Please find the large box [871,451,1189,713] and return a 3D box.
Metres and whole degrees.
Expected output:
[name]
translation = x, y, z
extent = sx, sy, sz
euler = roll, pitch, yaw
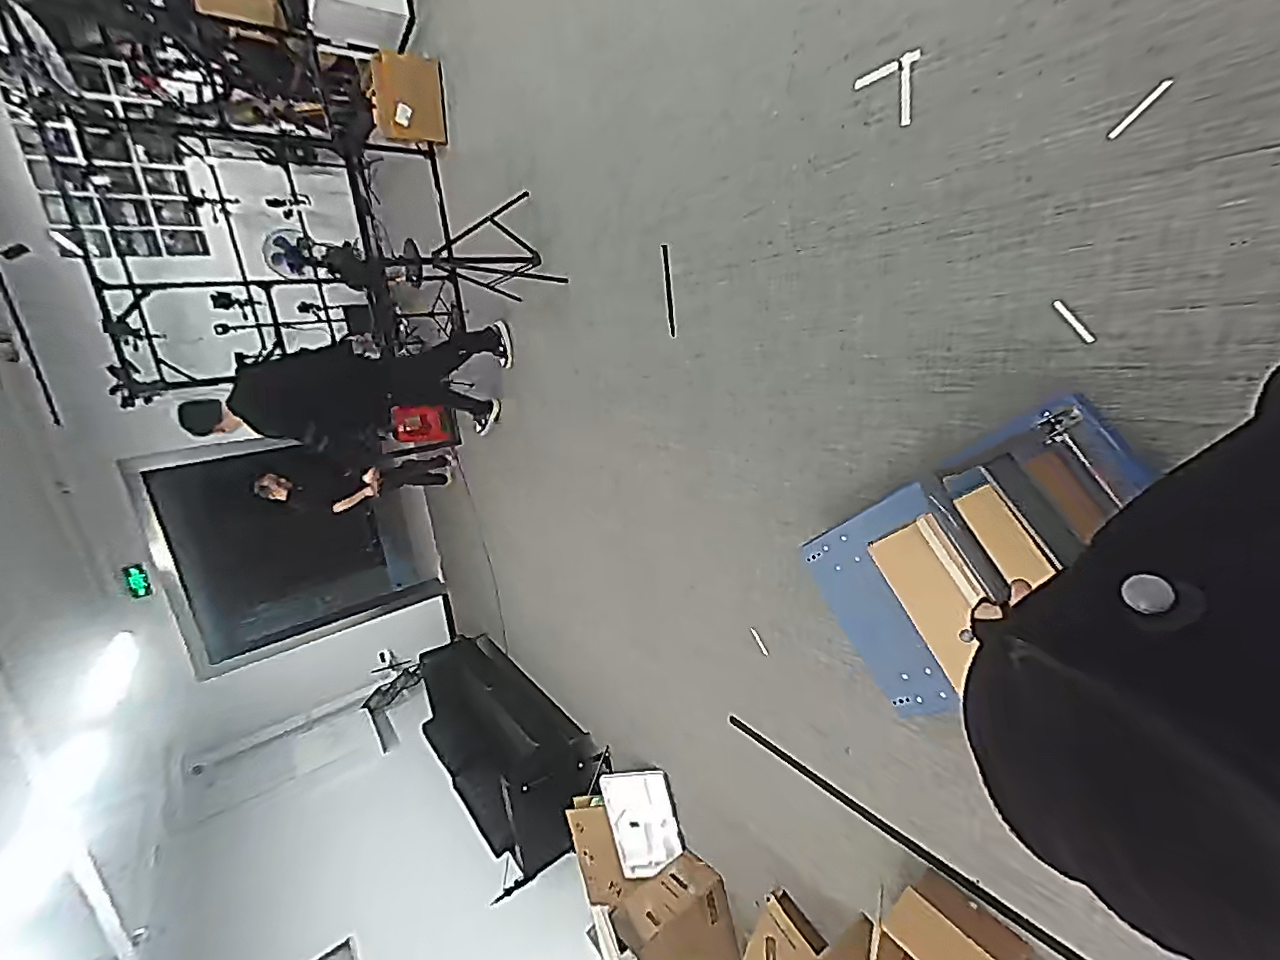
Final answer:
[large box]
translation = 0.789, 0.206, 1.128
extent = 0.408, 0.320, 0.320
euler = 63, 144, 17
